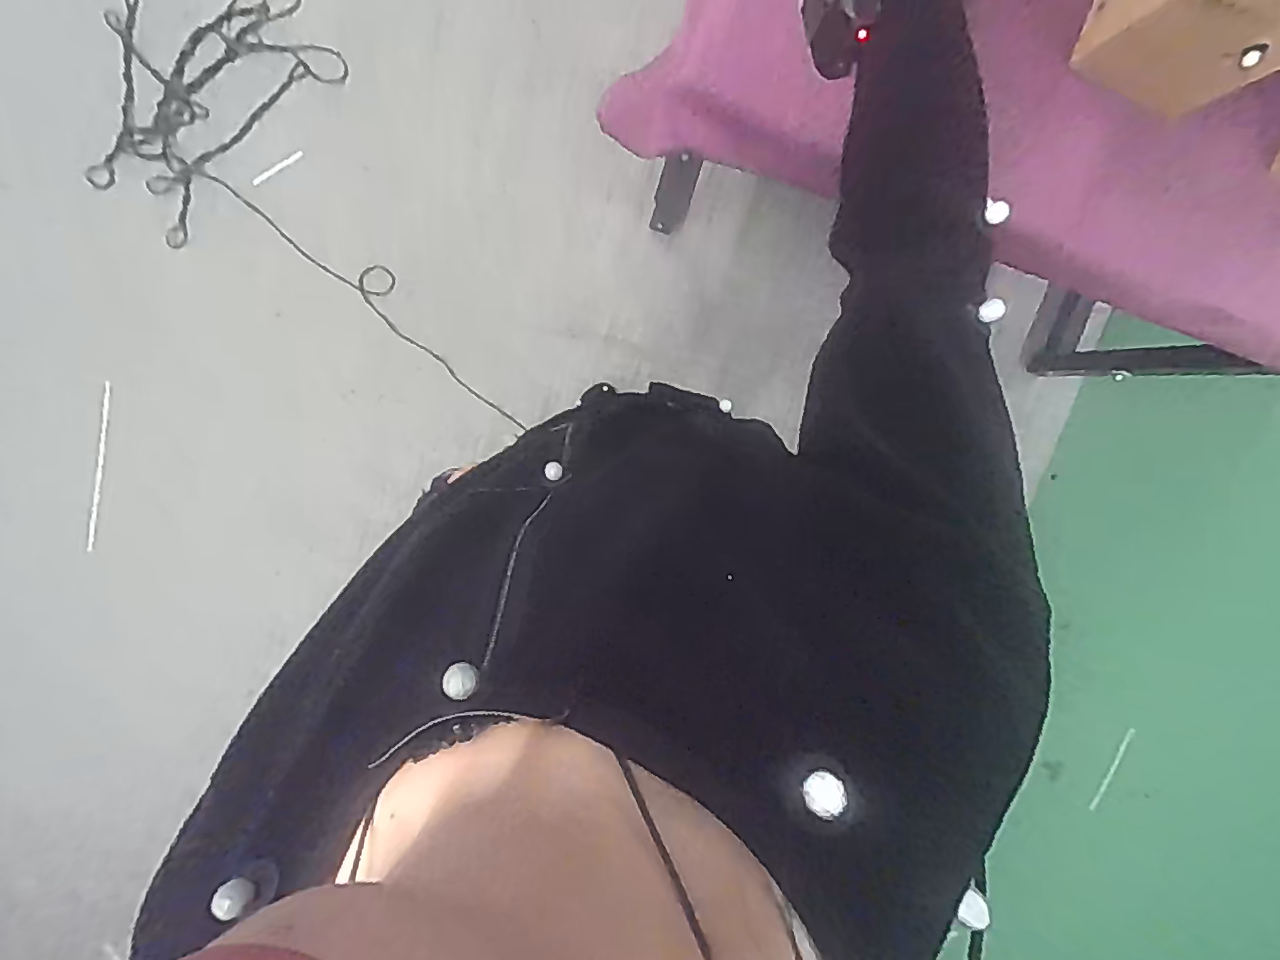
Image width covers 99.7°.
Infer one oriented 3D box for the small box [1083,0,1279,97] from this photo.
[{"bbox_3d":[0.675,-0.580,0.612,0.179,0.176,0.168,19,99,-6],"label":"small box"}]
